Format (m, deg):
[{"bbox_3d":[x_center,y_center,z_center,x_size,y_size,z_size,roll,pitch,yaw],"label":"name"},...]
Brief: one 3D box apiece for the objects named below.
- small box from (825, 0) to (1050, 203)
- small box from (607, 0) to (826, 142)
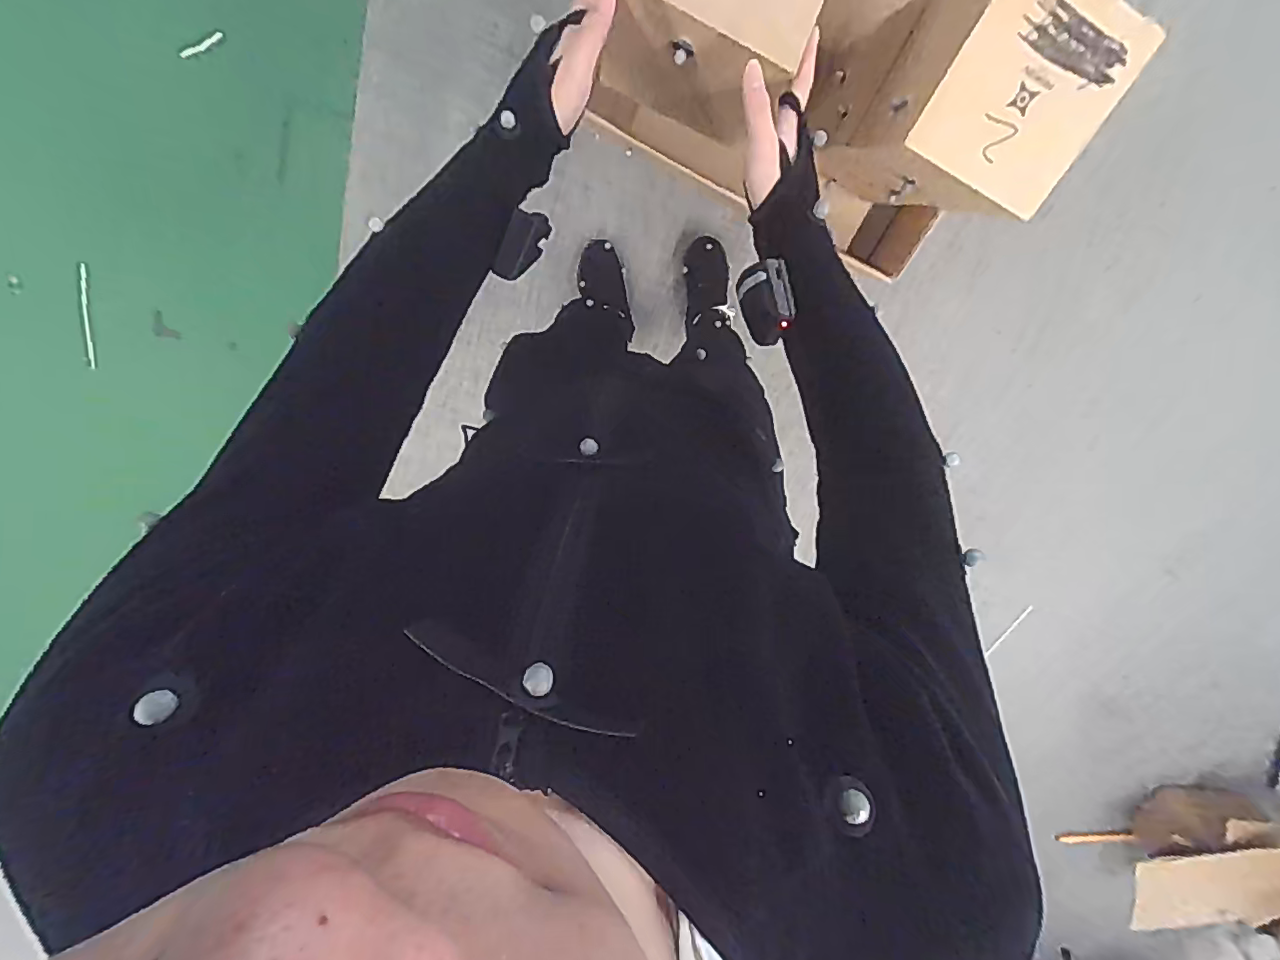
[{"bbox_3d":[0.369,-0.495,0.717,0.168,0.176,0.179,22,117,-12],"label":"small box"},{"bbox_3d":[0.076,-0.468,0.519,0.179,0.176,0.168,20,96,-10],"label":"small box"}]
